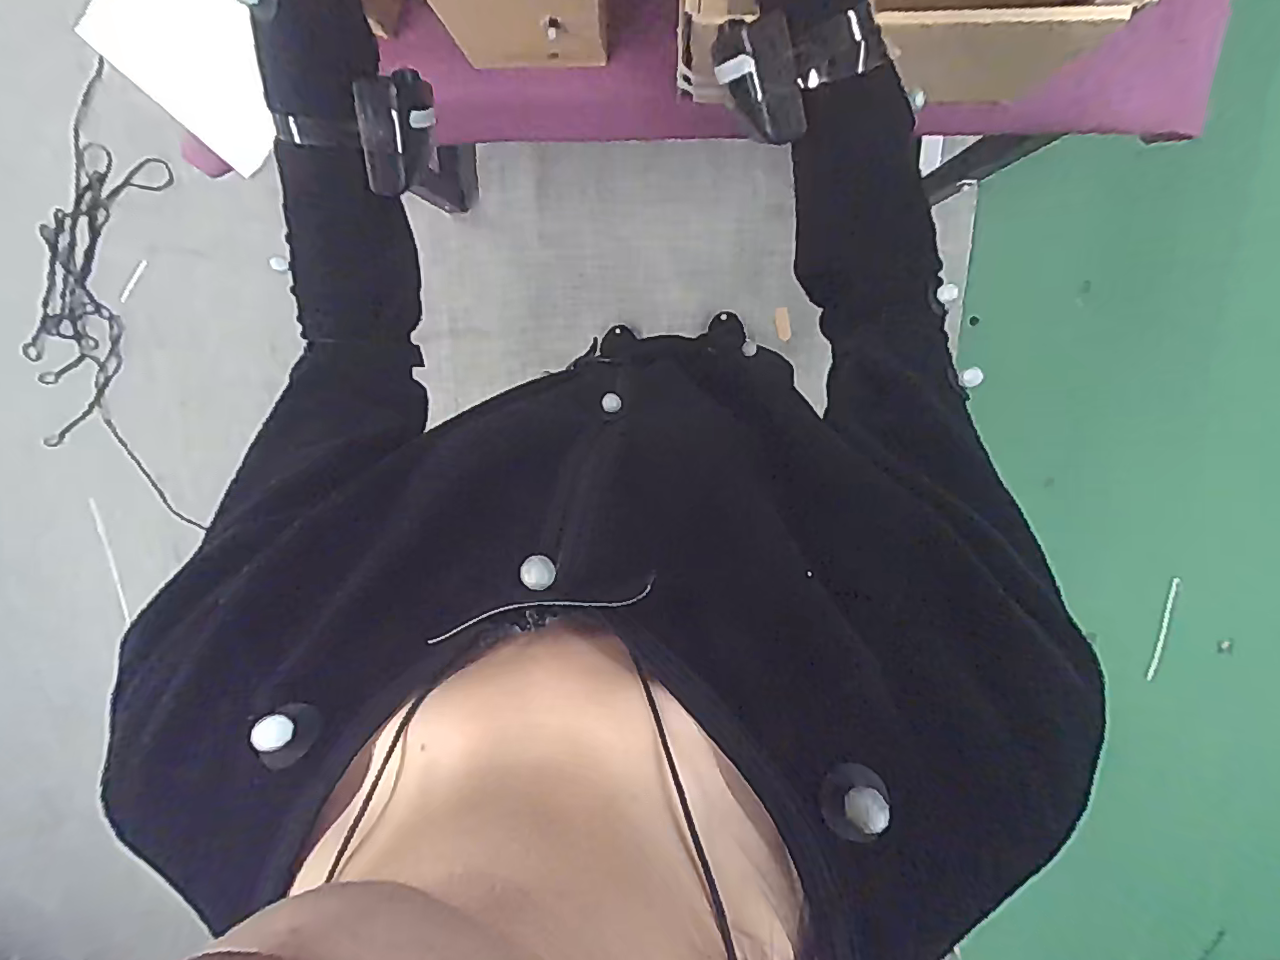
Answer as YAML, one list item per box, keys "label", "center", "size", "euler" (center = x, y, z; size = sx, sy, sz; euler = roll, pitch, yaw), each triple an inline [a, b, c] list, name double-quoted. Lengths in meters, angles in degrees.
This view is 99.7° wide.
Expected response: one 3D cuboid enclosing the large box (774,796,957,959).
- label: "large box"
  center: [0.658, 1.226, 1.628]
  size: [0.408, 0.320, 0.320]
  euler: [-14, 103, 6]
